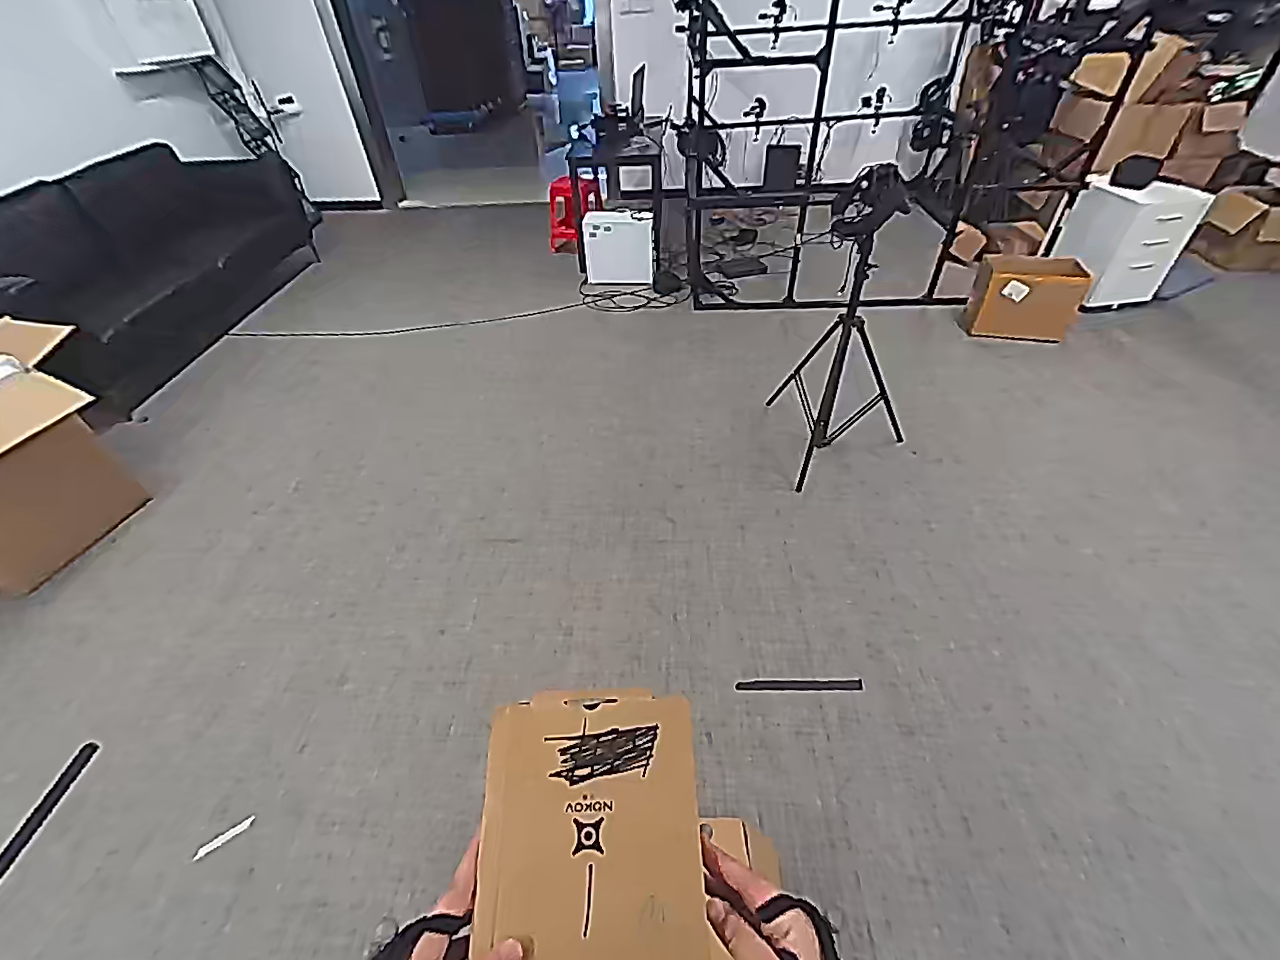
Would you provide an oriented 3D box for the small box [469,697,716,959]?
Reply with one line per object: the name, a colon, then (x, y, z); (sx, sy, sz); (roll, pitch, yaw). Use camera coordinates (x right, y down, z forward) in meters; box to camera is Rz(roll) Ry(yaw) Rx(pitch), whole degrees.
small box: (-0.032, 0.298, 0.464); (0.168, 0.176, 0.179); (-2, 56, 0)
